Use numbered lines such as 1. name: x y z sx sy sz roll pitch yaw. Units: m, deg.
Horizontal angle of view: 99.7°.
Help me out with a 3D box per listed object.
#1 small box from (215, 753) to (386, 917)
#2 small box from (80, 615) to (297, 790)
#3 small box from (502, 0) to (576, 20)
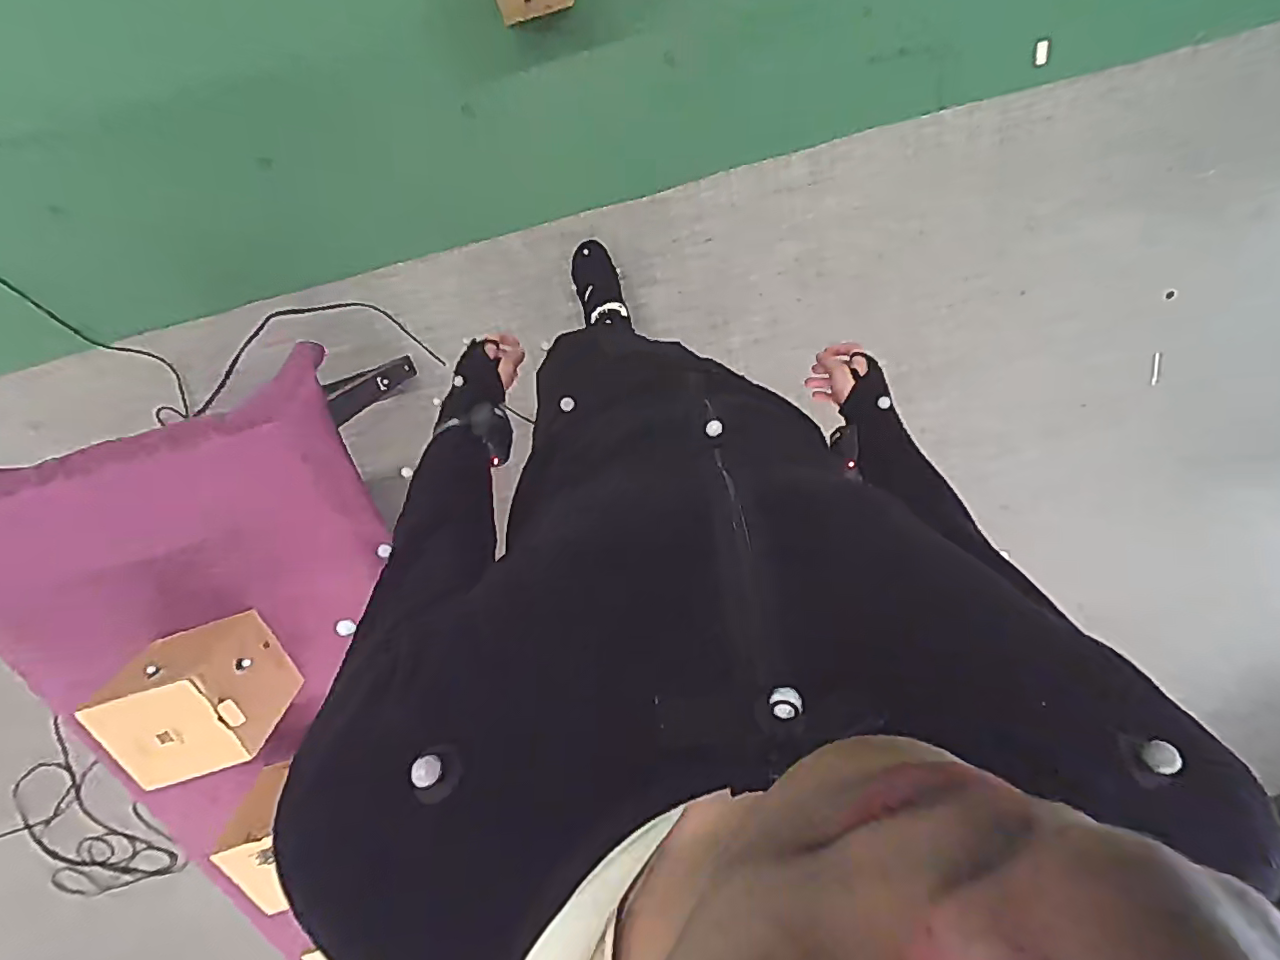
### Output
1. small box: -0.592 0.623 0.972 0.168 0.176 0.179 -18 113 1
2. small box: -0.684 0.340 0.853 0.179 0.176 0.168 -17 112 0
3. small box: -0.234 -1.105 1.128 0.168 0.176 0.179 -17 111 1
